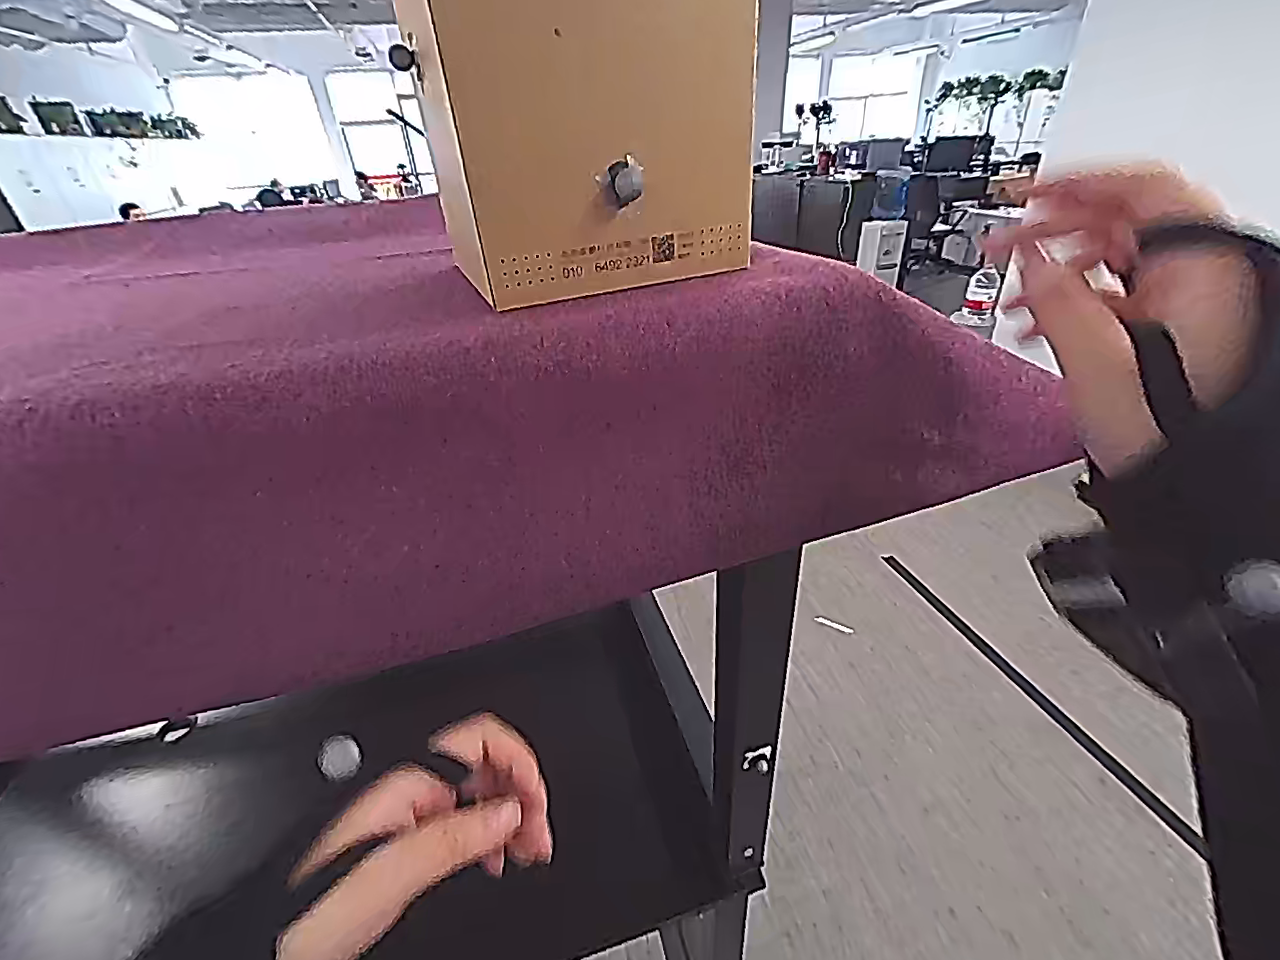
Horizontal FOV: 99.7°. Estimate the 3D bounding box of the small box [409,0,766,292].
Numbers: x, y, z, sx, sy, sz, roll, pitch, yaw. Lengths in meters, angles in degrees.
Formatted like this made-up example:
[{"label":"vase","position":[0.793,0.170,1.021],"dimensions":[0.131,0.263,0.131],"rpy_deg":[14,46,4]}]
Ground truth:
[{"label":"small box","position":[-0.040,-0.226,0.345],"dimensions":[0.168,0.176,0.179],"rpy_deg":[-16,33,-17]}]
